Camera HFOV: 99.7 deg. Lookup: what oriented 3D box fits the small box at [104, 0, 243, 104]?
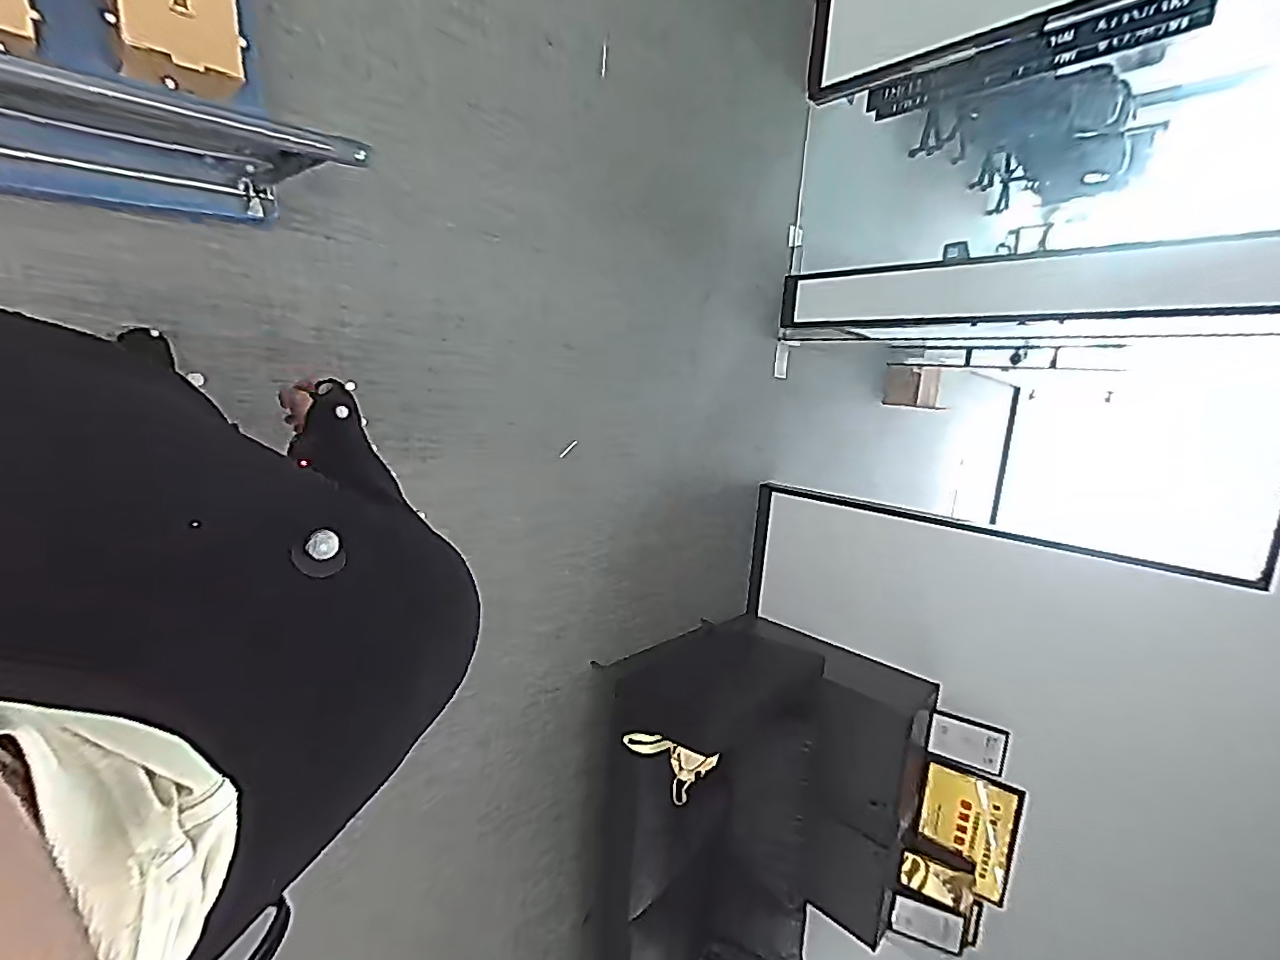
[{"bbox_3d":[-0.846,-0.825,0.977,0.168,0.176,0.179,-11,108,-45],"label":"small box"}]
